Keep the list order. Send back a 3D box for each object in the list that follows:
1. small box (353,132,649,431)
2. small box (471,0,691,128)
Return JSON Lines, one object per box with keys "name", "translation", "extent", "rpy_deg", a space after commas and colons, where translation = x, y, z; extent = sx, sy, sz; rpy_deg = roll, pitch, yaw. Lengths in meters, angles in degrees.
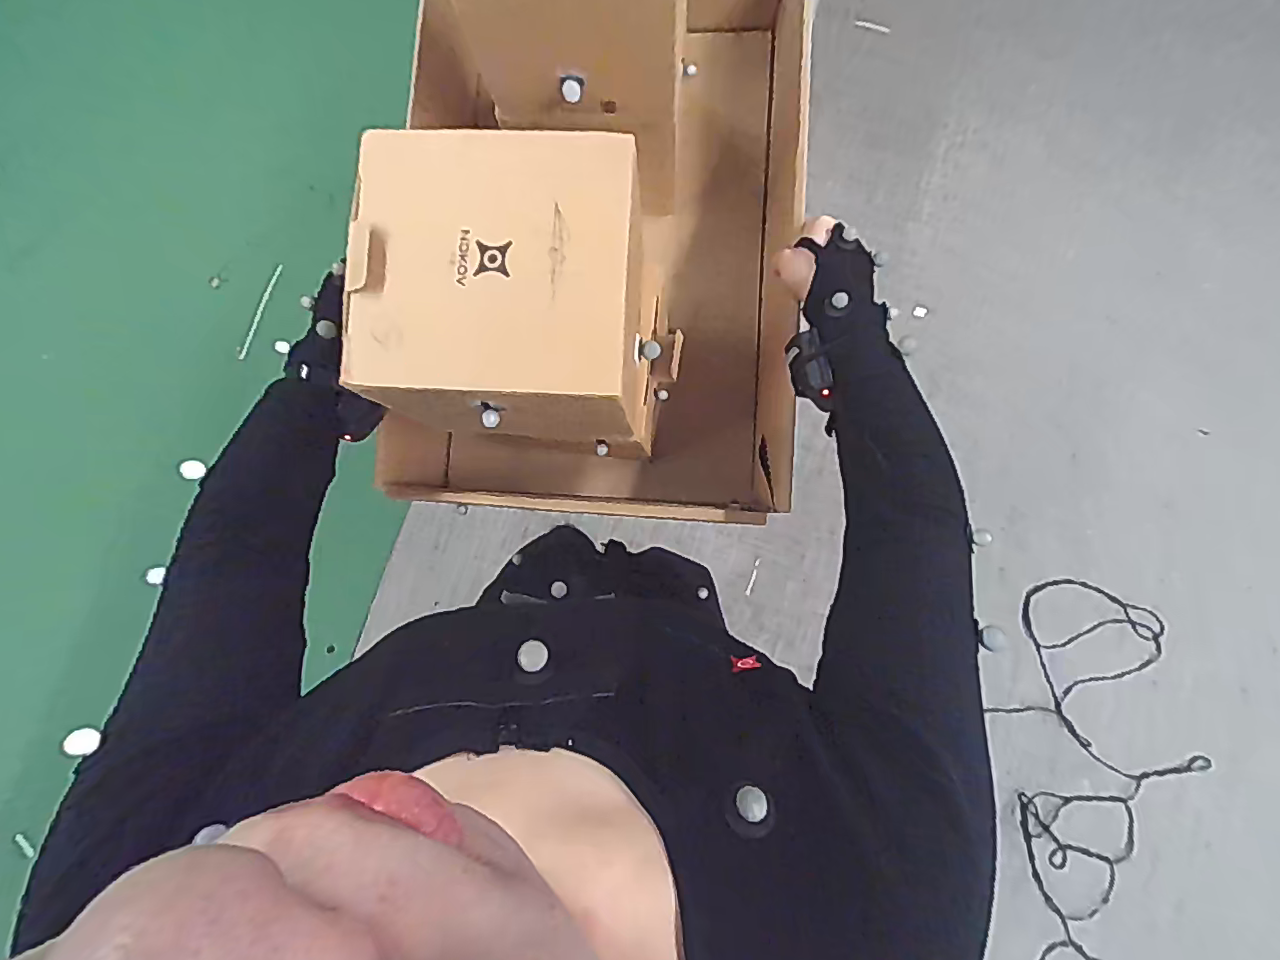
{"name": "small box", "translation": [-0.086, -0.133, 0.419], "extent": [0.179, 0.176, 0.168], "rpy_deg": [3, 87, 2]}
{"name": "small box", "translation": [-0.042, -0.423, 0.429], "extent": [0.168, 0.176, 0.179], "rpy_deg": [4, 88, 3]}
